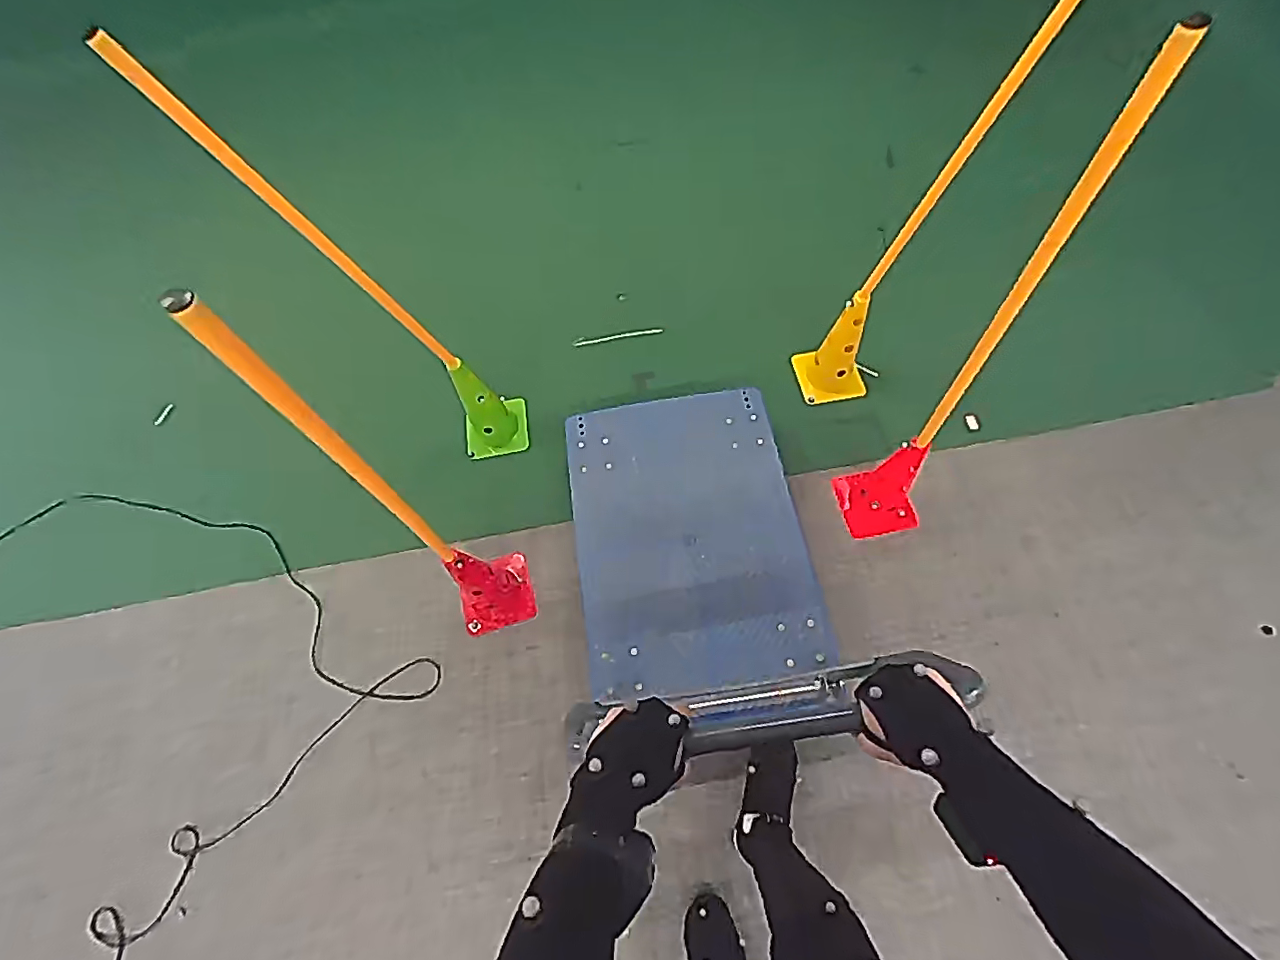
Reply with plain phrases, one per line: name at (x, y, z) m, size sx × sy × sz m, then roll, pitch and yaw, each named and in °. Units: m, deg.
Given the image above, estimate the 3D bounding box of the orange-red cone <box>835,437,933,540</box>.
orange-red cone at (0.668, -0.006, 1.402) m, size 0.198 × 0.360 × 0.199 m, roll -10°, pitch 62°, yaw -1°

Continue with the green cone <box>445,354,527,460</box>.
green cone at (-0.482, -0.239, 1.600) m, size 0.200 × 0.368 × 0.202 m, roll -11°, pitch 63°, yaw 0°
